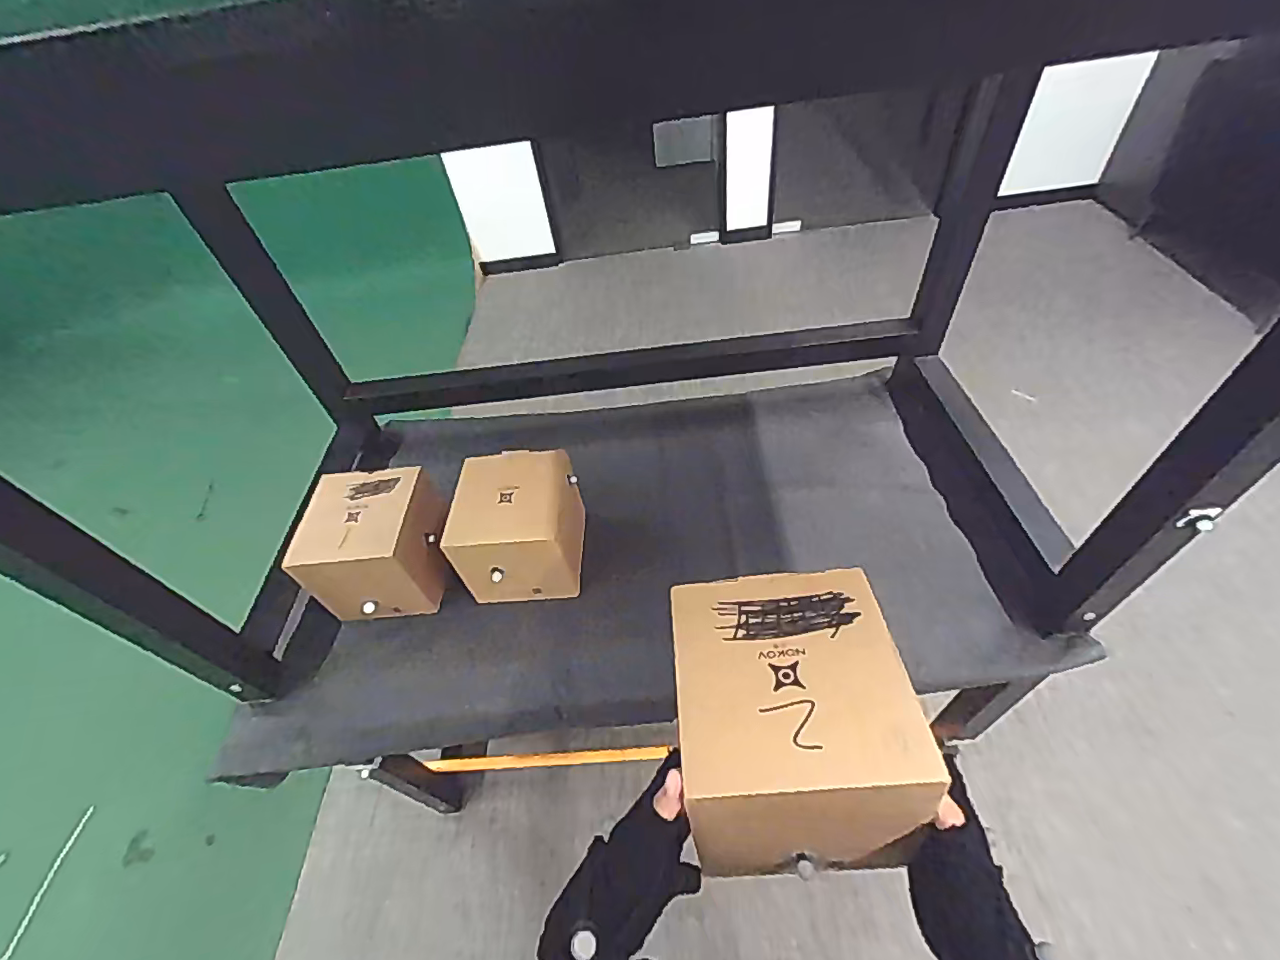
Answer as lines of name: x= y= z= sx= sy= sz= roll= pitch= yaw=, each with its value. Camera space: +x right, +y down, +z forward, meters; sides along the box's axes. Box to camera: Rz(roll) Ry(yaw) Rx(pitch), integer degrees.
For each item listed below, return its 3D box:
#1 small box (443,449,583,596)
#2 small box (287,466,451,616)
small box: x=-0.190 y=0.075 z=0.870 sx=0.168 sy=0.176 sz=0.179 roll=-4 pitch=48 yaw=4
small box: x=-0.416 y=0.100 z=0.876 sx=0.168 sy=0.176 sz=0.179 roll=-5 pitch=48 yaw=3
